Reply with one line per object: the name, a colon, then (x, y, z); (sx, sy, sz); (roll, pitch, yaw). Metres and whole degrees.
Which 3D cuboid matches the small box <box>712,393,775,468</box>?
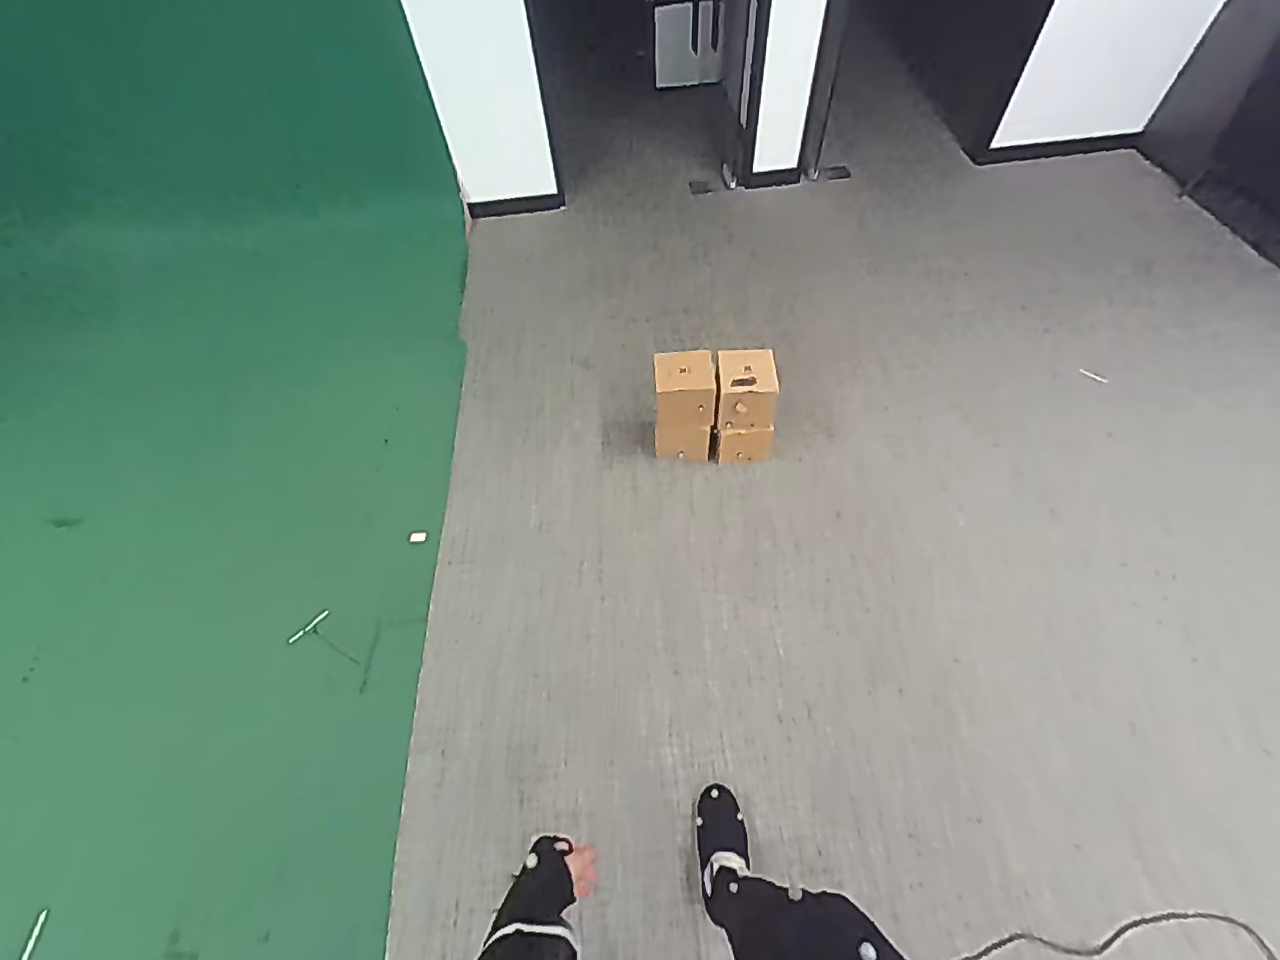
small box: (0.332, -0.163, 1.777); (0.168, 0.176, 0.179); (-6, 56, 0)
